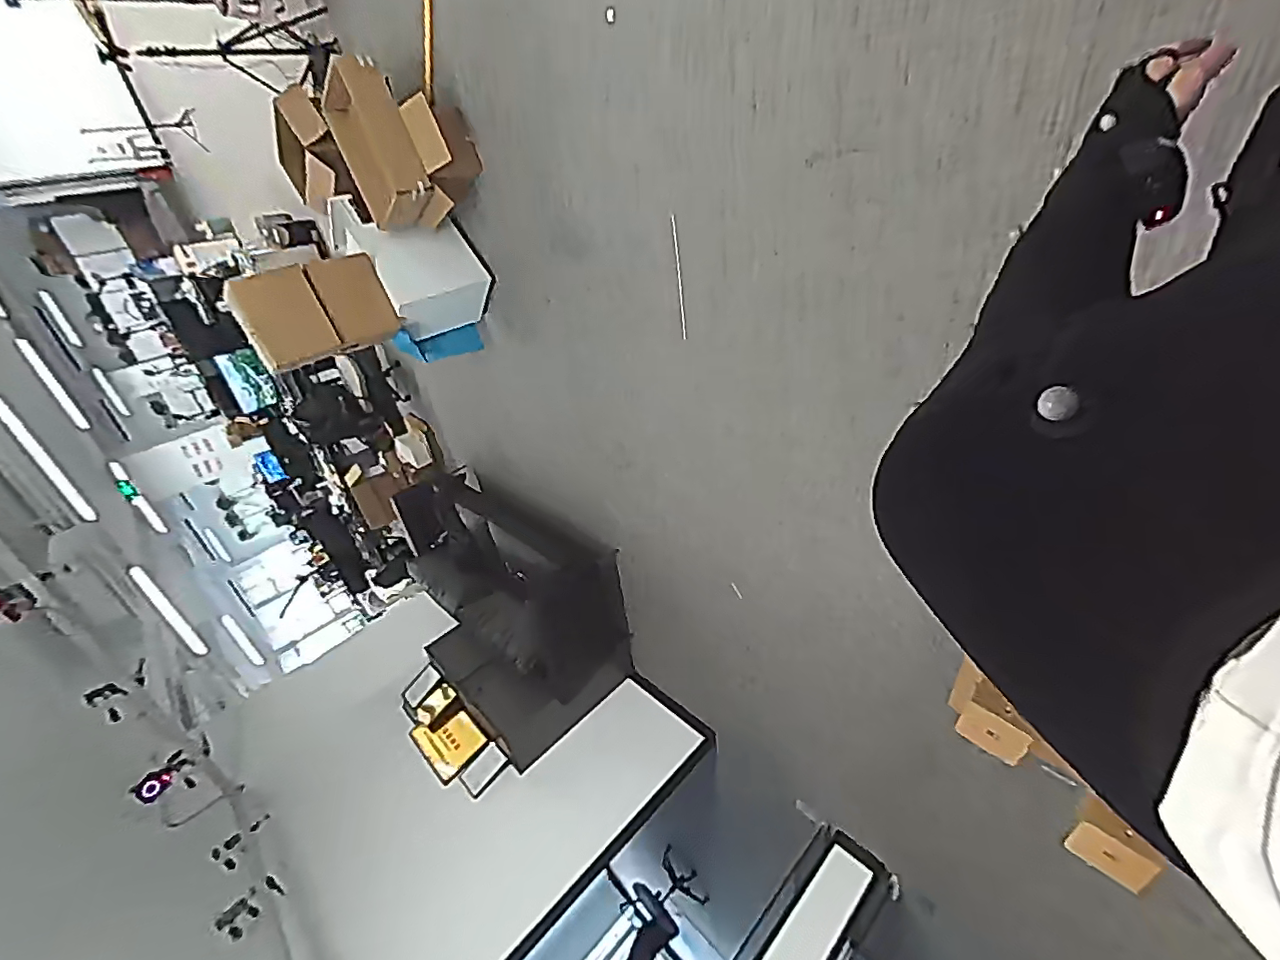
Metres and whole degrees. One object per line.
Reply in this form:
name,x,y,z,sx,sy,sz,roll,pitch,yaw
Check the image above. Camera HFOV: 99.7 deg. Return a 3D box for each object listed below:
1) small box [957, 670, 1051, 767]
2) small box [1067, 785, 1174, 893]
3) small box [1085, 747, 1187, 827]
small box,1.116,0.723,1.655,0.179,0.176,0.168,29,137,36
small box,1.377,1.015,1.551,0.179,0.176,0.168,25,134,39
small box,1.497,0.945,1.634,0.179,0.176,0.168,26,136,39
